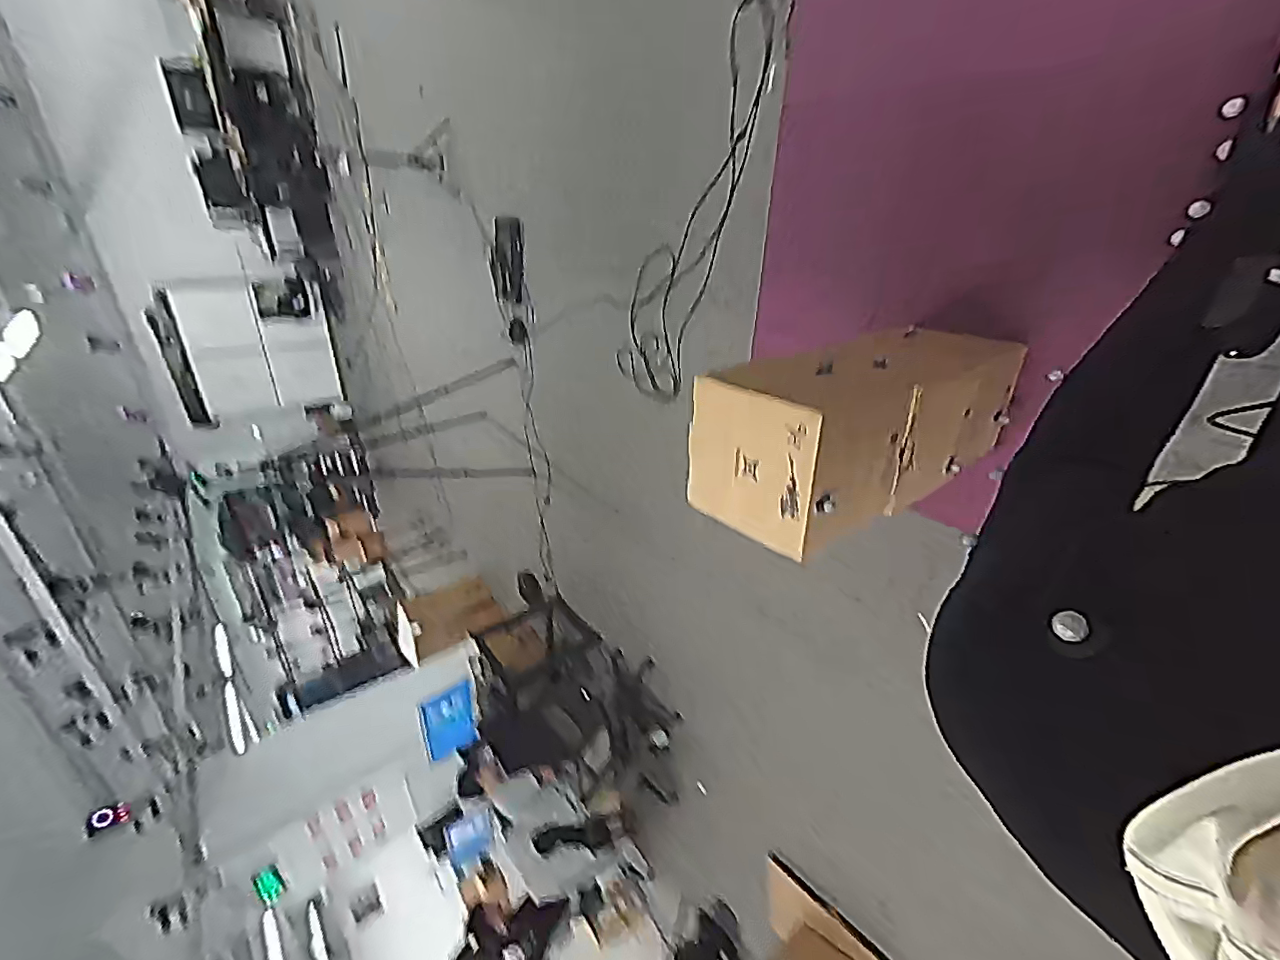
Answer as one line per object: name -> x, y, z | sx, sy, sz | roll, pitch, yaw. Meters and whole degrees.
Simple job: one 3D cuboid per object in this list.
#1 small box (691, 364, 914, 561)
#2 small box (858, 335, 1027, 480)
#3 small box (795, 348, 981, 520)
small box -> 0.182, -0.035, 0.637 | 0.179, 0.176, 0.168 | 29, 129, 46
small box -> 0.440, -0.120, 0.821 | 0.179, 0.176, 0.168 | 28, 127, 44
small box -> 0.316, -0.074, 0.723 | 0.179, 0.176, 0.168 | 30, 129, 46
